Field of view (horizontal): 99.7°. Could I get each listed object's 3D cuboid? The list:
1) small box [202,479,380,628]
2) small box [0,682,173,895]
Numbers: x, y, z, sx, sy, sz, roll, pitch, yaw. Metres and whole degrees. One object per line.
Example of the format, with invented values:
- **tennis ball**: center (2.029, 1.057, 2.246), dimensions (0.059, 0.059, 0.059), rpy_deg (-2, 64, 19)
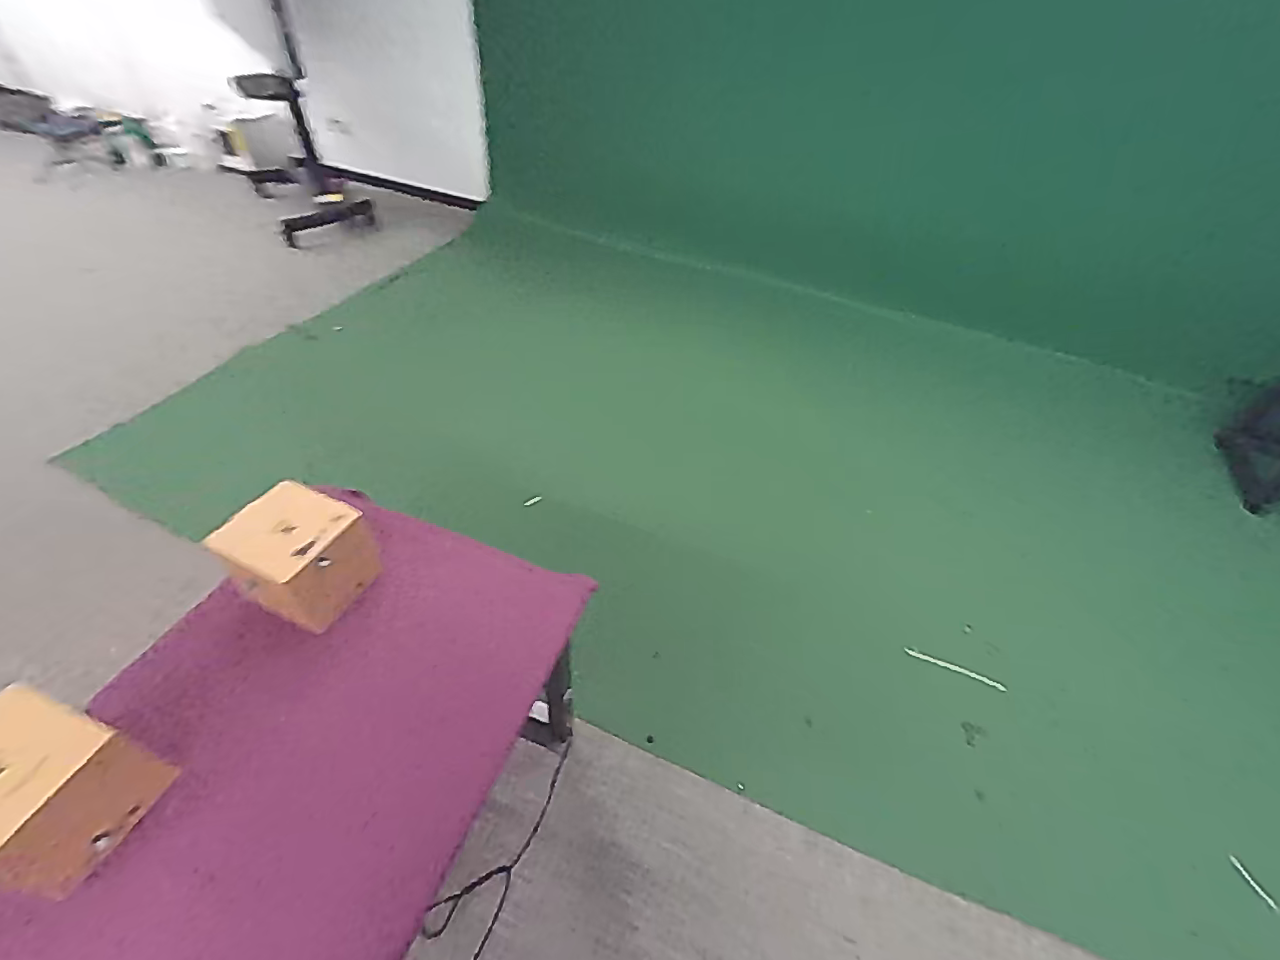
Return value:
- **small box**: center (-0.603, 0.133, 0.957), dimensions (0.179, 0.176, 0.168), rpy_deg (20, 48, 13)
- **small box**: center (-0.769, 0.394, 0.687), dimensions (0.179, 0.176, 0.168), rpy_deg (18, 48, 10)
